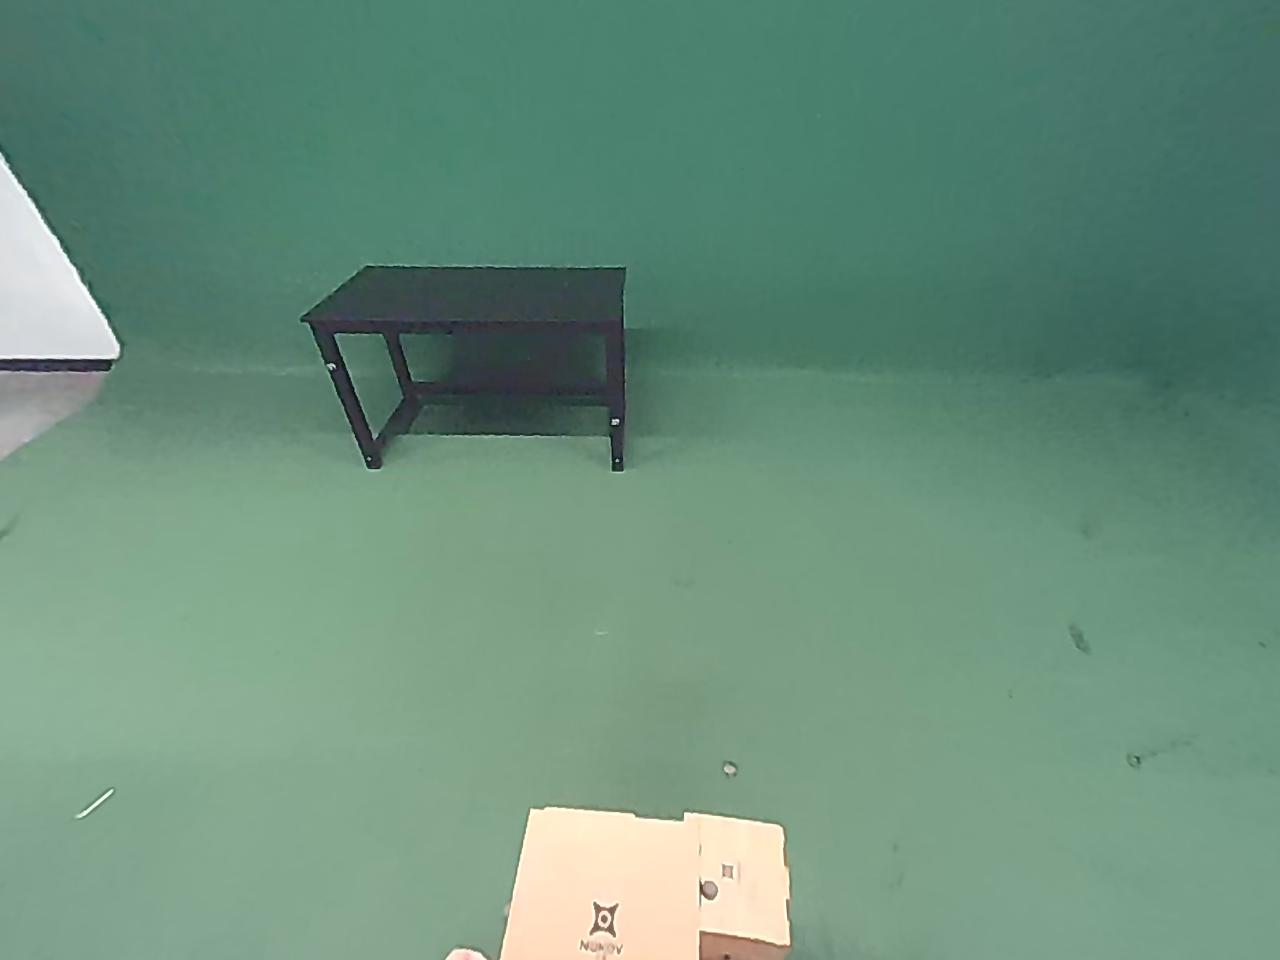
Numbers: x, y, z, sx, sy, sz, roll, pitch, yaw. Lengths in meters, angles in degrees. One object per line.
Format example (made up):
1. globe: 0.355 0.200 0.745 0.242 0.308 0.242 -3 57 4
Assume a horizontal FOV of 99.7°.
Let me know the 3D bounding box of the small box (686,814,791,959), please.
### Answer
1. small box: 0.151 0.705 0.922 0.179 0.176 0.168 5 38 7

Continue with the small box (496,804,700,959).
1. small box: -0.030 0.430 0.503 0.168 0.176 0.179 1 45 6
